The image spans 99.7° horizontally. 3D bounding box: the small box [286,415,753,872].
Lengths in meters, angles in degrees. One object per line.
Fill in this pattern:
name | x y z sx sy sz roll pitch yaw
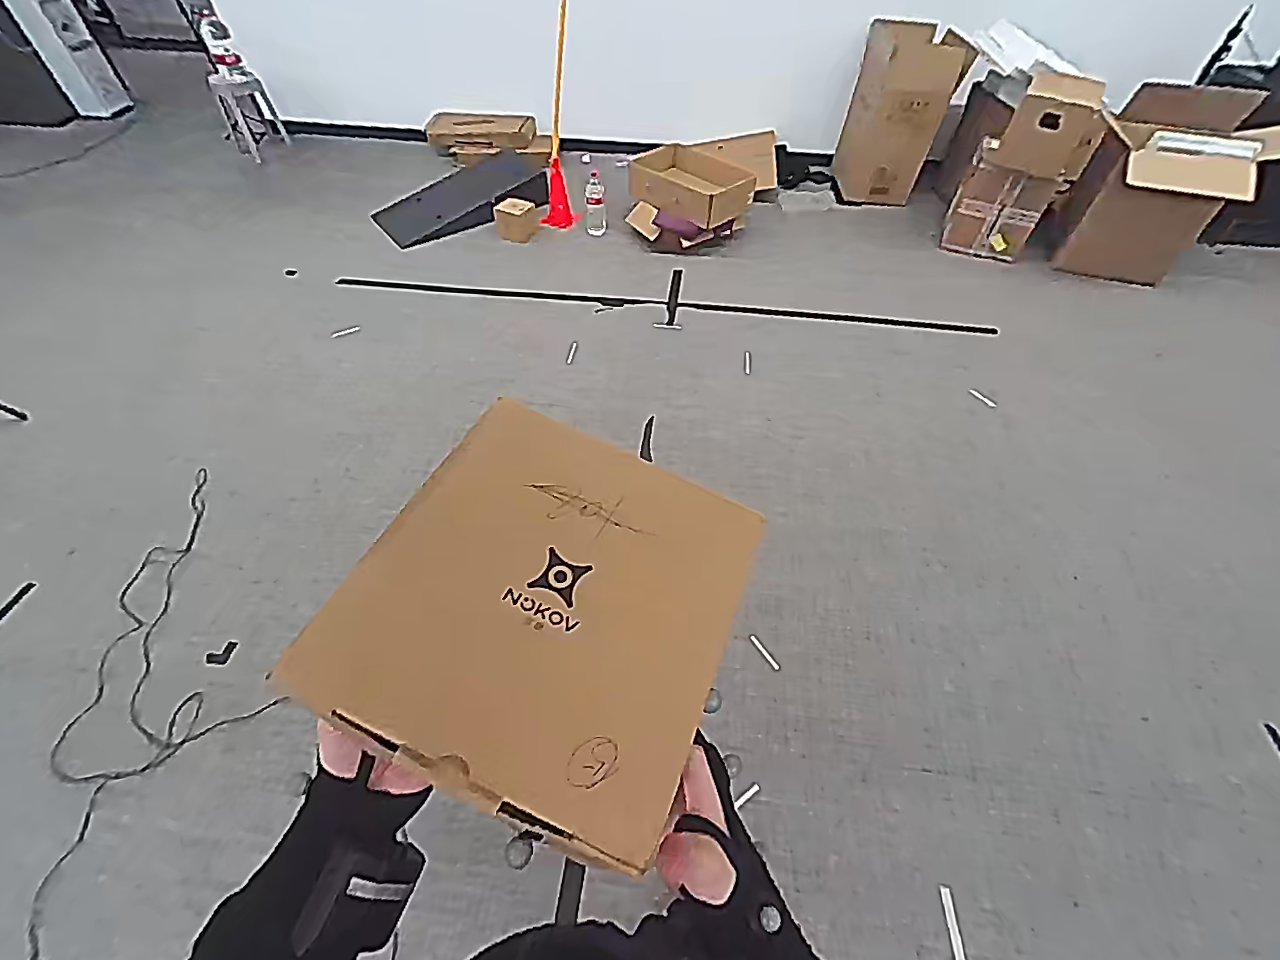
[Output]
small box | -0.054 0.101 0.326 0.168 0.176 0.179 24 54 4
